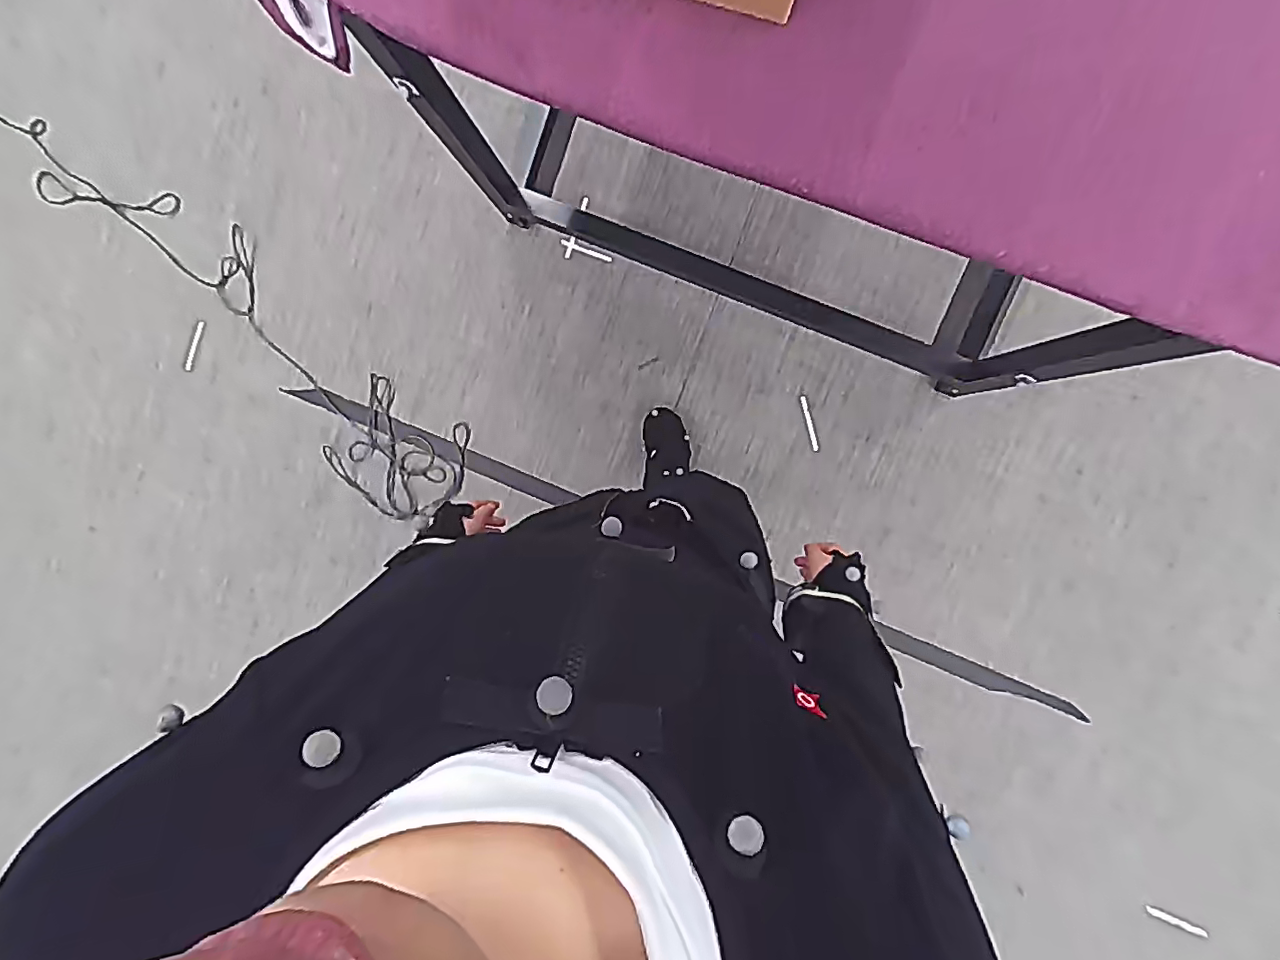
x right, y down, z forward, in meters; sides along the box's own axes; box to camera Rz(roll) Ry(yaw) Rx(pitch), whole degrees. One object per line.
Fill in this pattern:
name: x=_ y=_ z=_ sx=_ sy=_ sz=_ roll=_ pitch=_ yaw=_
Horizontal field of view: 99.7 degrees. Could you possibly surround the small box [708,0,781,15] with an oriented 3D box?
small box: x=0.095 y=-0.597 z=0.509 sx=0.179 sy=0.176 sz=0.168 roll=18 pitch=94 yaw=3
